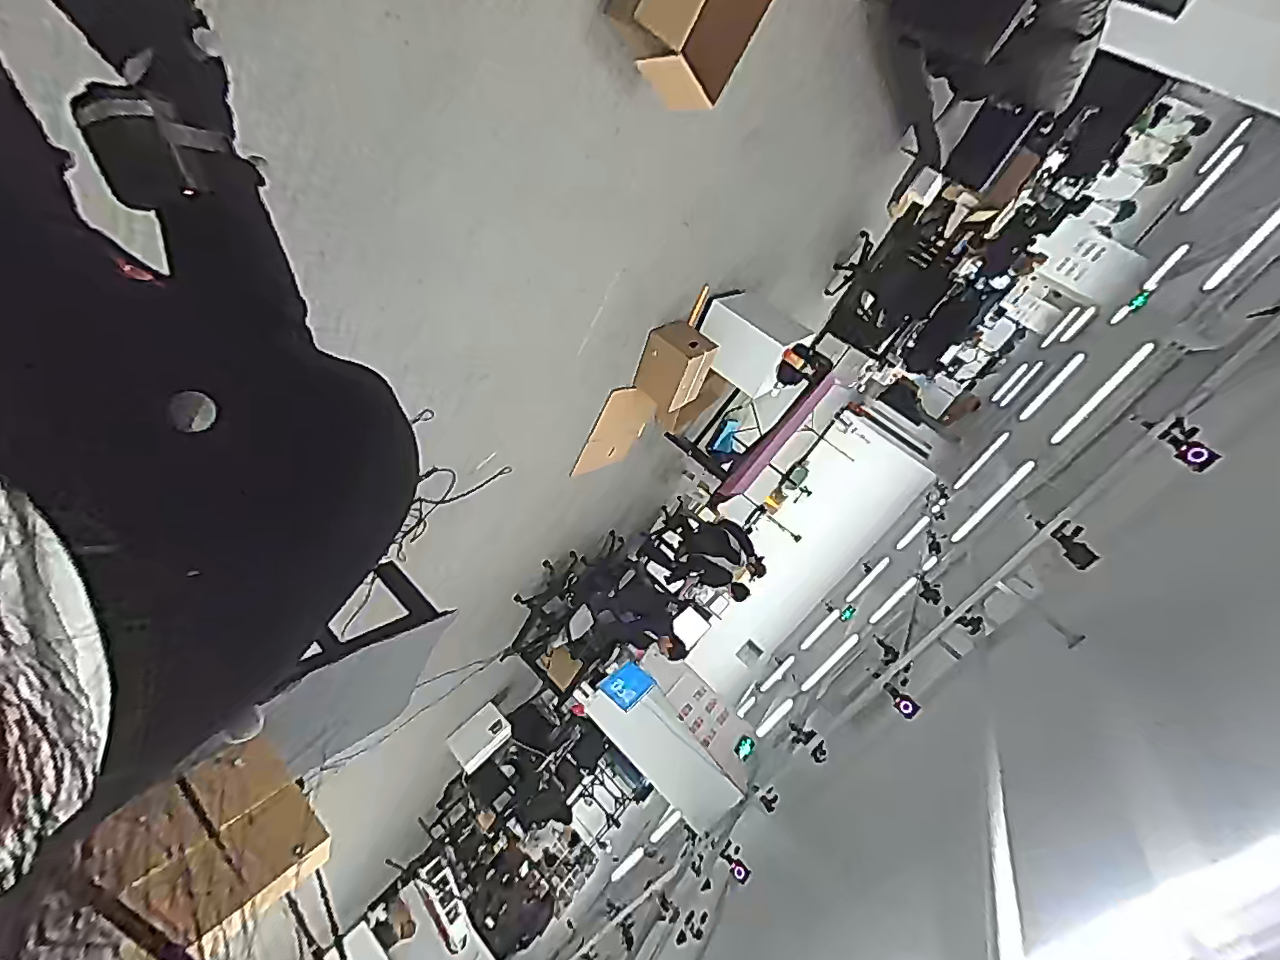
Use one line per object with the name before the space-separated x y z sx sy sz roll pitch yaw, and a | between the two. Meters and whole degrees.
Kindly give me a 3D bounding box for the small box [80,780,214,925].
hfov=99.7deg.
small box | -1.081 0.805 1.186 0.168 0.176 0.179 -23 149 -58
